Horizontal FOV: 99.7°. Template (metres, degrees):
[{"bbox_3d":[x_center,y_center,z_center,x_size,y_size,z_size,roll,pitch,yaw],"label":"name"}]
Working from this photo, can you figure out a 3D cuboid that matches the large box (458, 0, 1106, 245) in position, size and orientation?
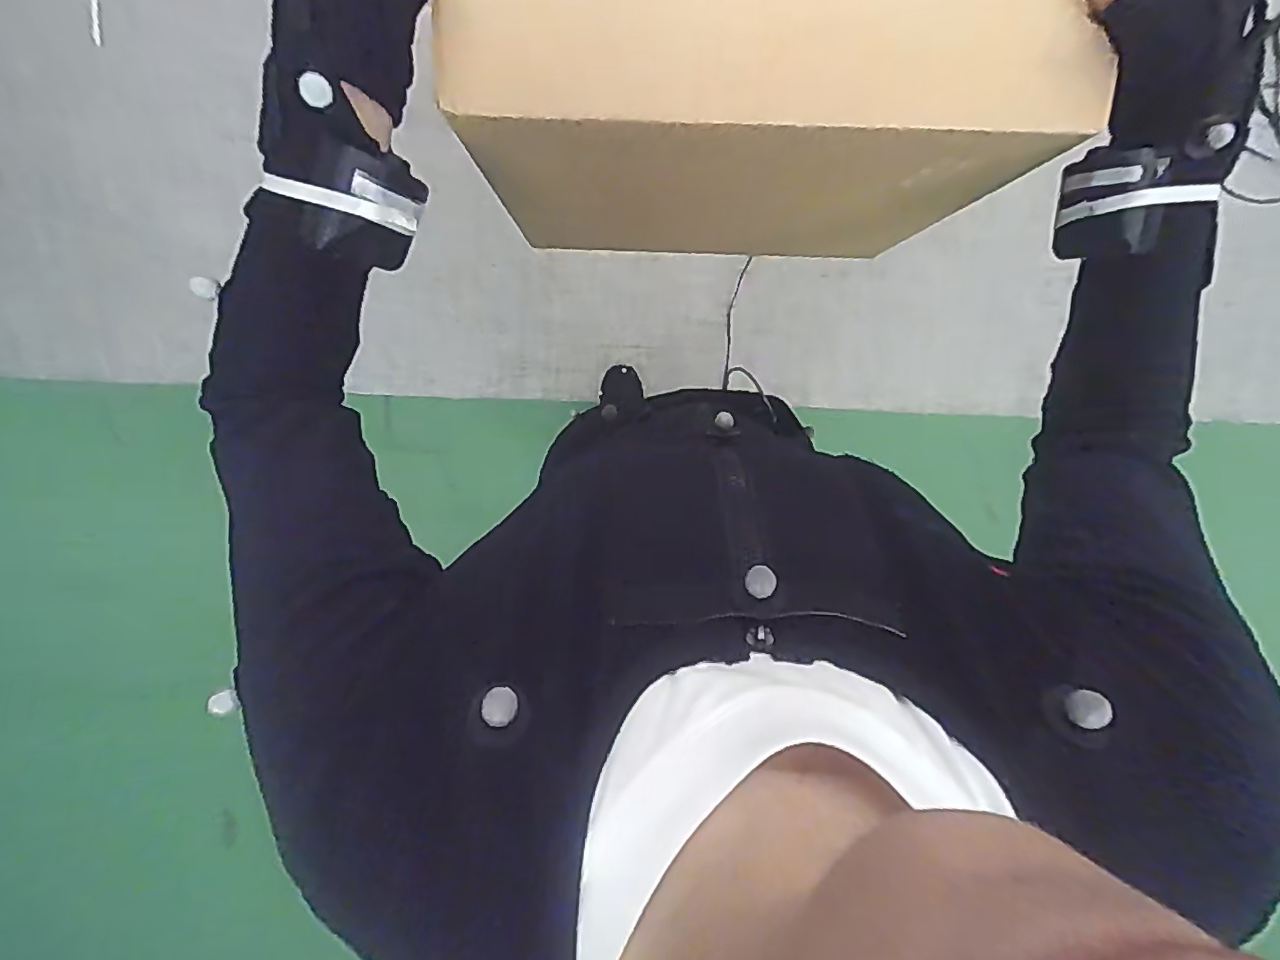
[{"bbox_3d":[0.081,-0.401,0.458,0.408,0.320,0.320,0,100,-3],"label":"large box"}]
